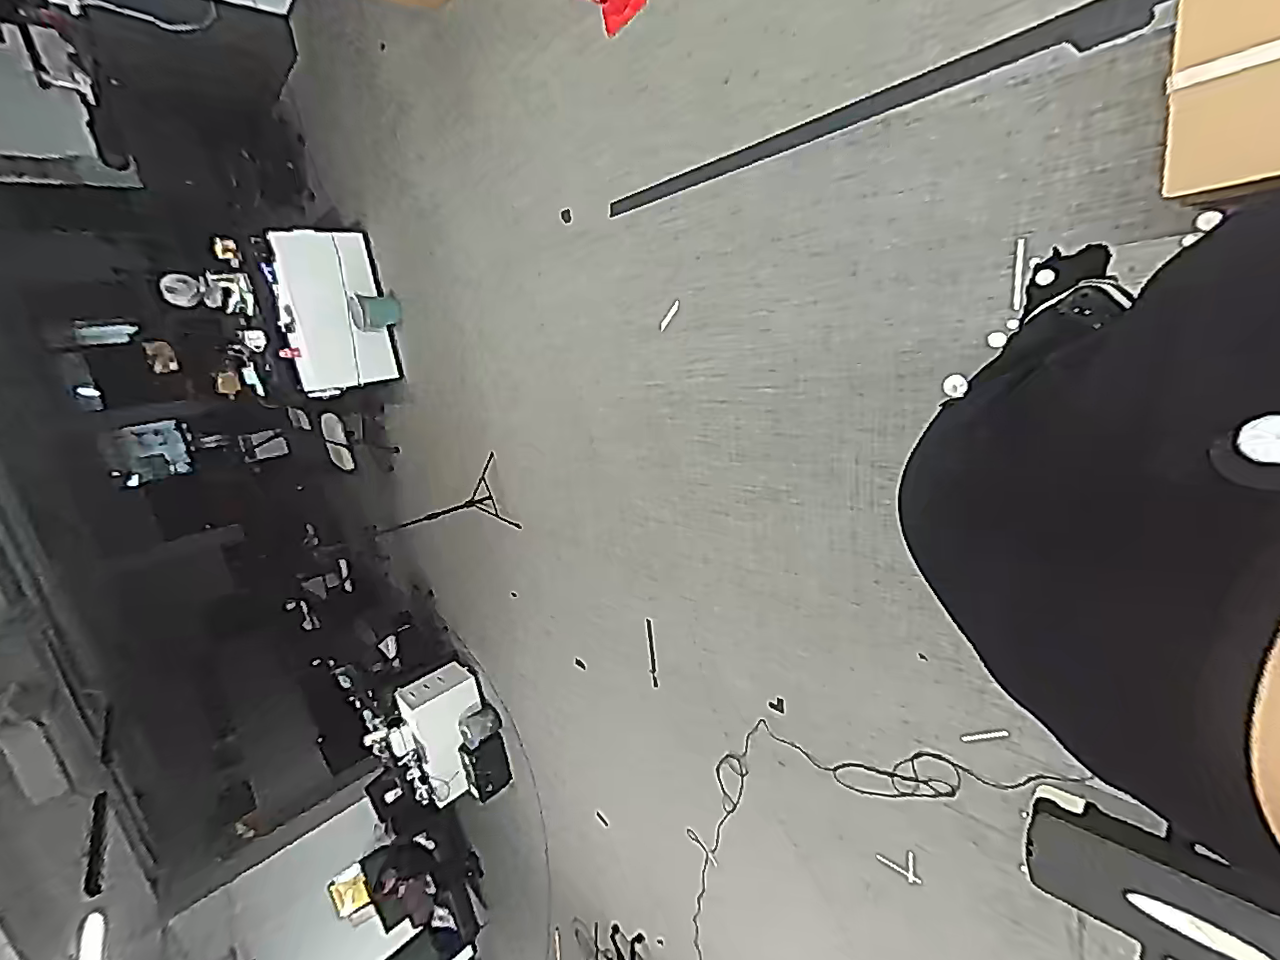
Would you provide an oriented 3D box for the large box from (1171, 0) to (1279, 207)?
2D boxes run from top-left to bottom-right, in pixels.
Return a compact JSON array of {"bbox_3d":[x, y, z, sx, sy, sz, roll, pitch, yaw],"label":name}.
[{"bbox_3d":[1.010,-0.594,0.727,0.408,0.320,0.320,7,112,46],"label":"large box"}]
